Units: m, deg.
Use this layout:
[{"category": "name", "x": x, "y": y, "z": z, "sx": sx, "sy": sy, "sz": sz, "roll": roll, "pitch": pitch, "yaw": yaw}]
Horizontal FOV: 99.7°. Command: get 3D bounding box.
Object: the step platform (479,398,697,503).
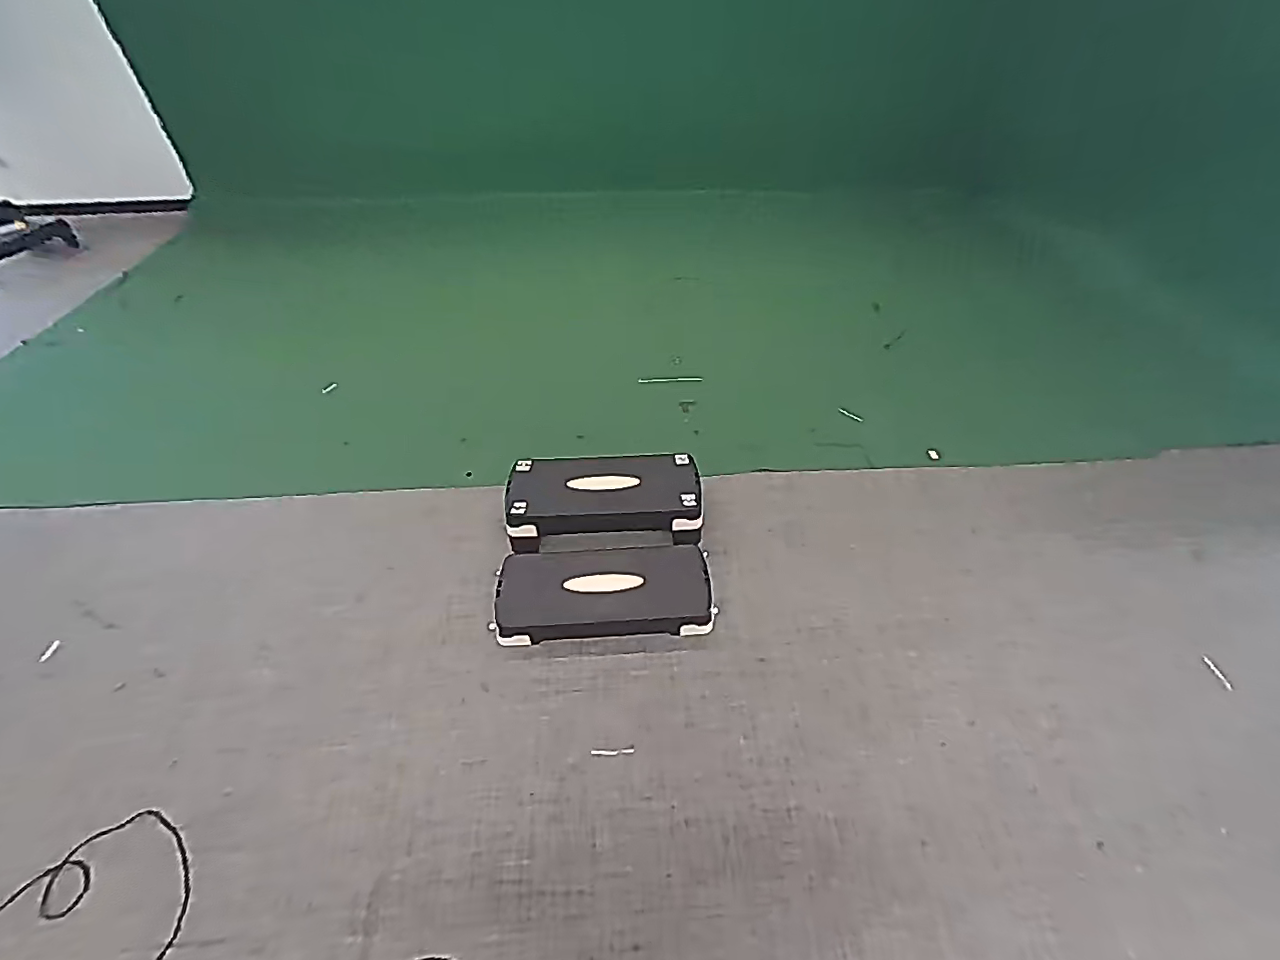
[{"category": "step platform", "x": -0.161, "y": -0.096, "z": 1.773, "sx": 0.684, "sy": 0.204, "sz": 0.286, "roll": -3, "pitch": 47, "yaw": -2}]
